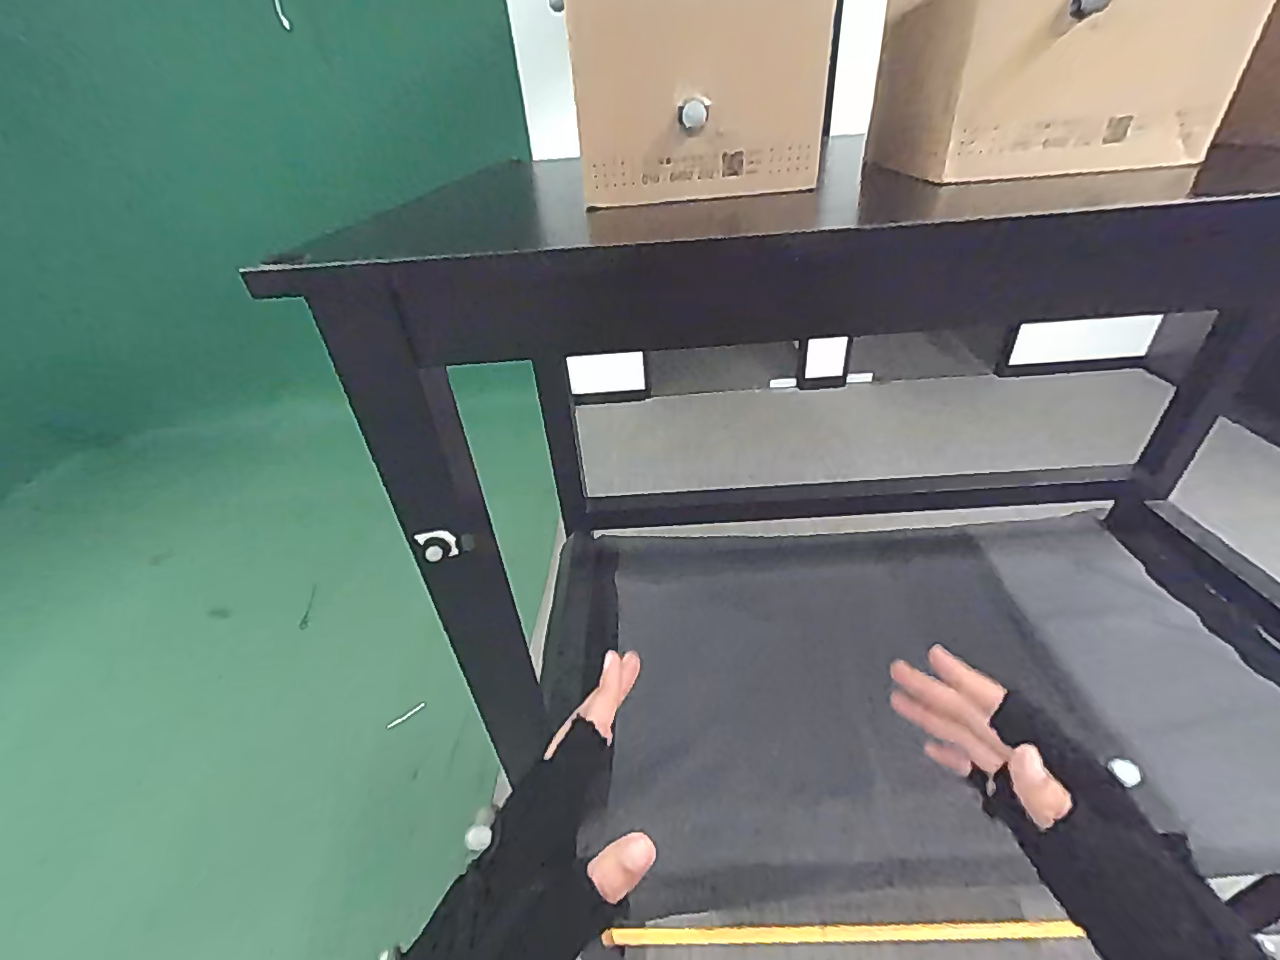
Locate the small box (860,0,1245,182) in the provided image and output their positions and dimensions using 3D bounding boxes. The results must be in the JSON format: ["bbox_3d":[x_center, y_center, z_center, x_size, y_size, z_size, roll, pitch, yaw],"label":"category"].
[{"bbox_3d":[0.268,-0.312,0.375,0.168,0.176,0.179,-2,34,5],"label":"small box"}]

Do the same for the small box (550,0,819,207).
[{"bbox_3d":[0.024,-0.311,0.406,0.168,0.176,0.179,-6,35,0],"label":"small box"}]
